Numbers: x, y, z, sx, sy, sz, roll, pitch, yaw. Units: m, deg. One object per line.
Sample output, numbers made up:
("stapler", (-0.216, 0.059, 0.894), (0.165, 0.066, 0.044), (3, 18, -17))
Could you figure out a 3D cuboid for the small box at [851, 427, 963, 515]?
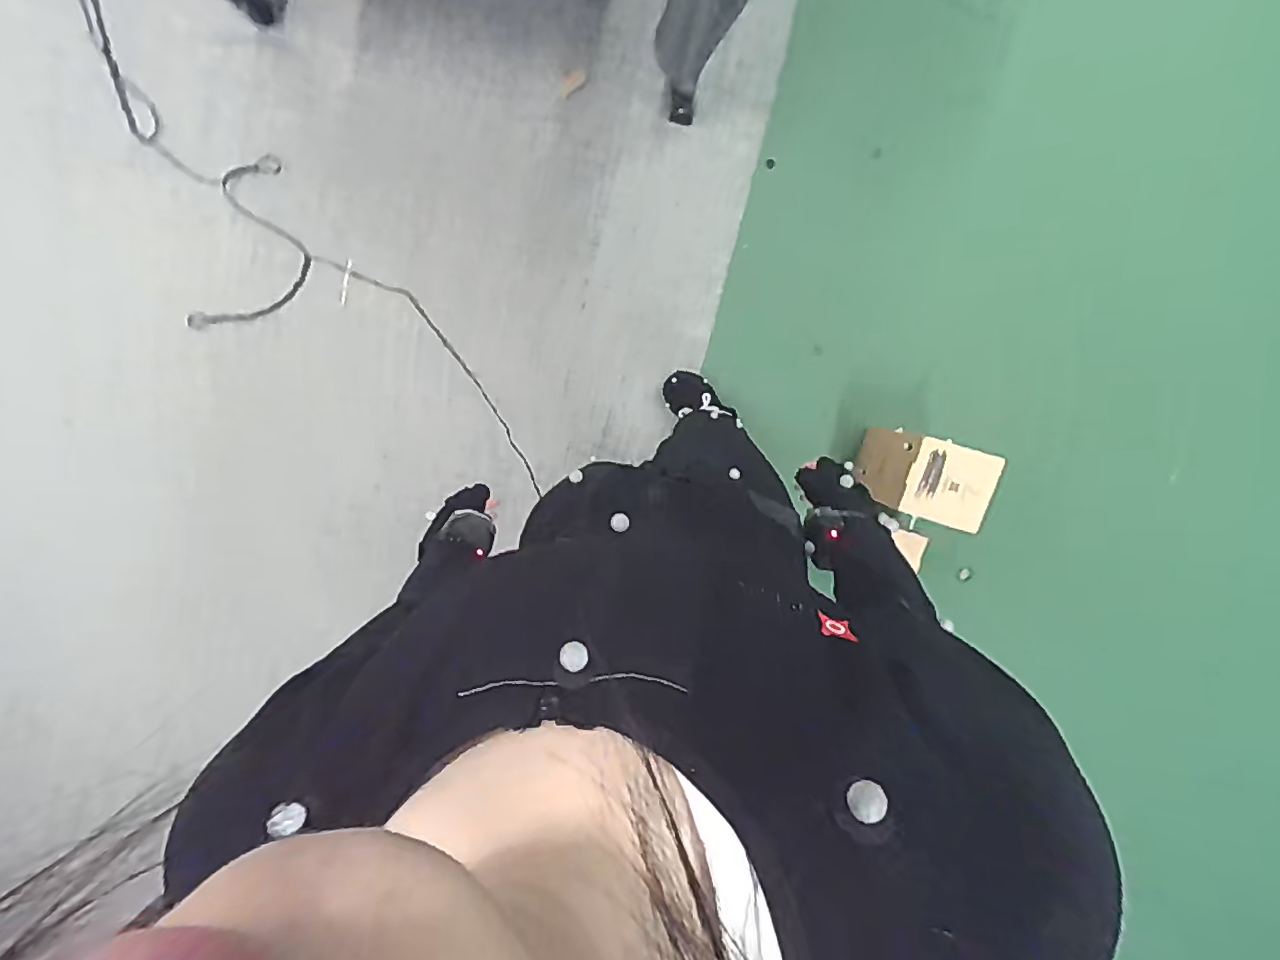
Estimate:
("small box", (0.658, -0.028, 1.360), (0.179, 0.176, 0.168), (19, 98, 1))
